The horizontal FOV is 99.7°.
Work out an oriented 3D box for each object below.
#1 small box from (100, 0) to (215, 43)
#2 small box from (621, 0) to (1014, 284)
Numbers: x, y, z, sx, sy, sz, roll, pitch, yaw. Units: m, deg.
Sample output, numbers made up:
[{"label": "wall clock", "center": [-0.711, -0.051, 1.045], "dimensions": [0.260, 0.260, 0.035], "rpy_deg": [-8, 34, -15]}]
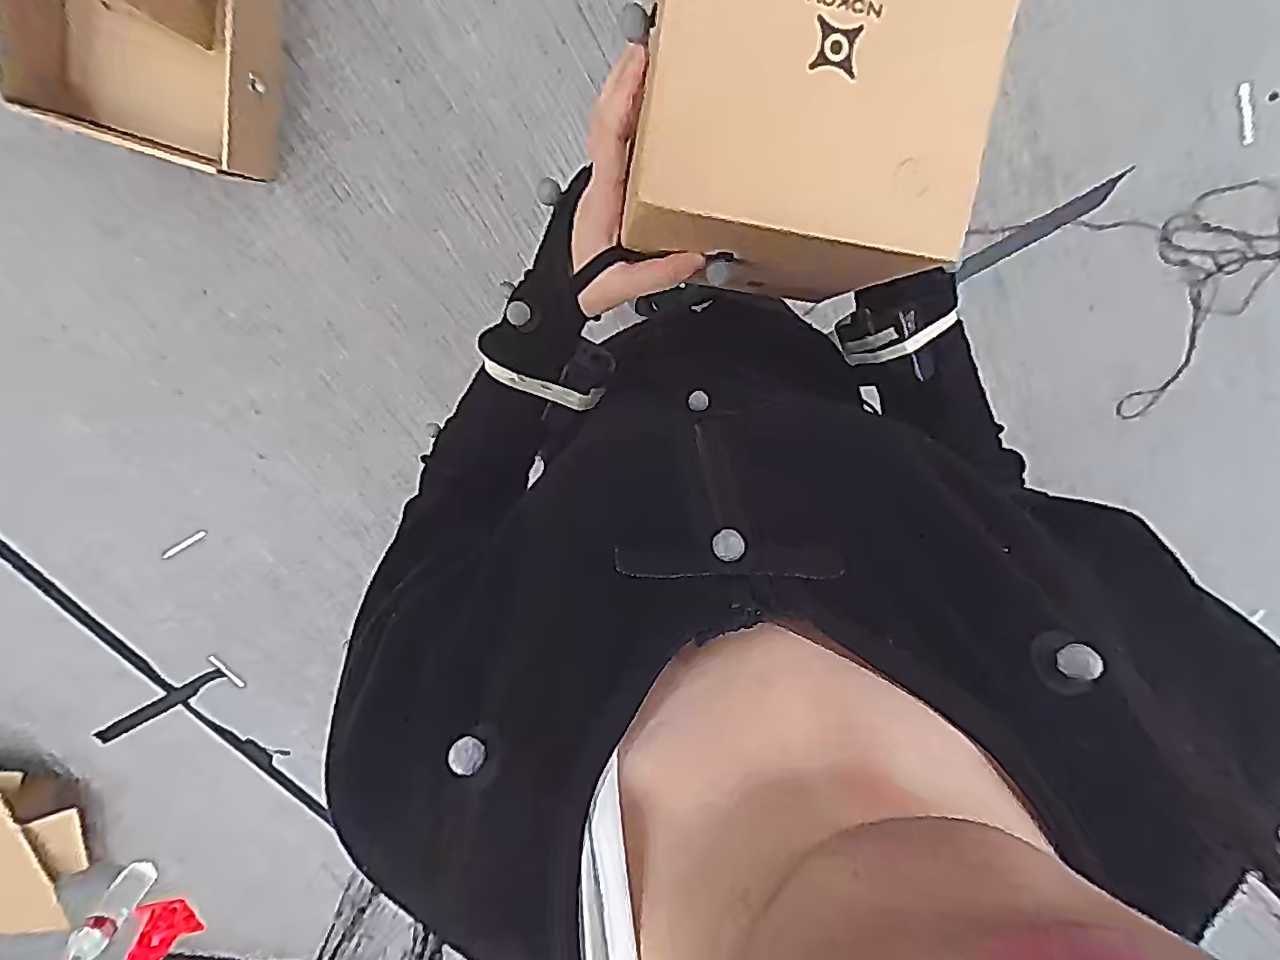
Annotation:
[{"label": "small box", "center": [-0.917, -0.941, 0.977], "dimensions": [0.179, 0.176, 0.168], "rpy_deg": [18, 110, -10]}, {"label": "small box", "center": [0.081, -0.227, 0.321], "dimensions": [0.168, 0.176, 0.179], "rpy_deg": [6, 99, -7]}]
